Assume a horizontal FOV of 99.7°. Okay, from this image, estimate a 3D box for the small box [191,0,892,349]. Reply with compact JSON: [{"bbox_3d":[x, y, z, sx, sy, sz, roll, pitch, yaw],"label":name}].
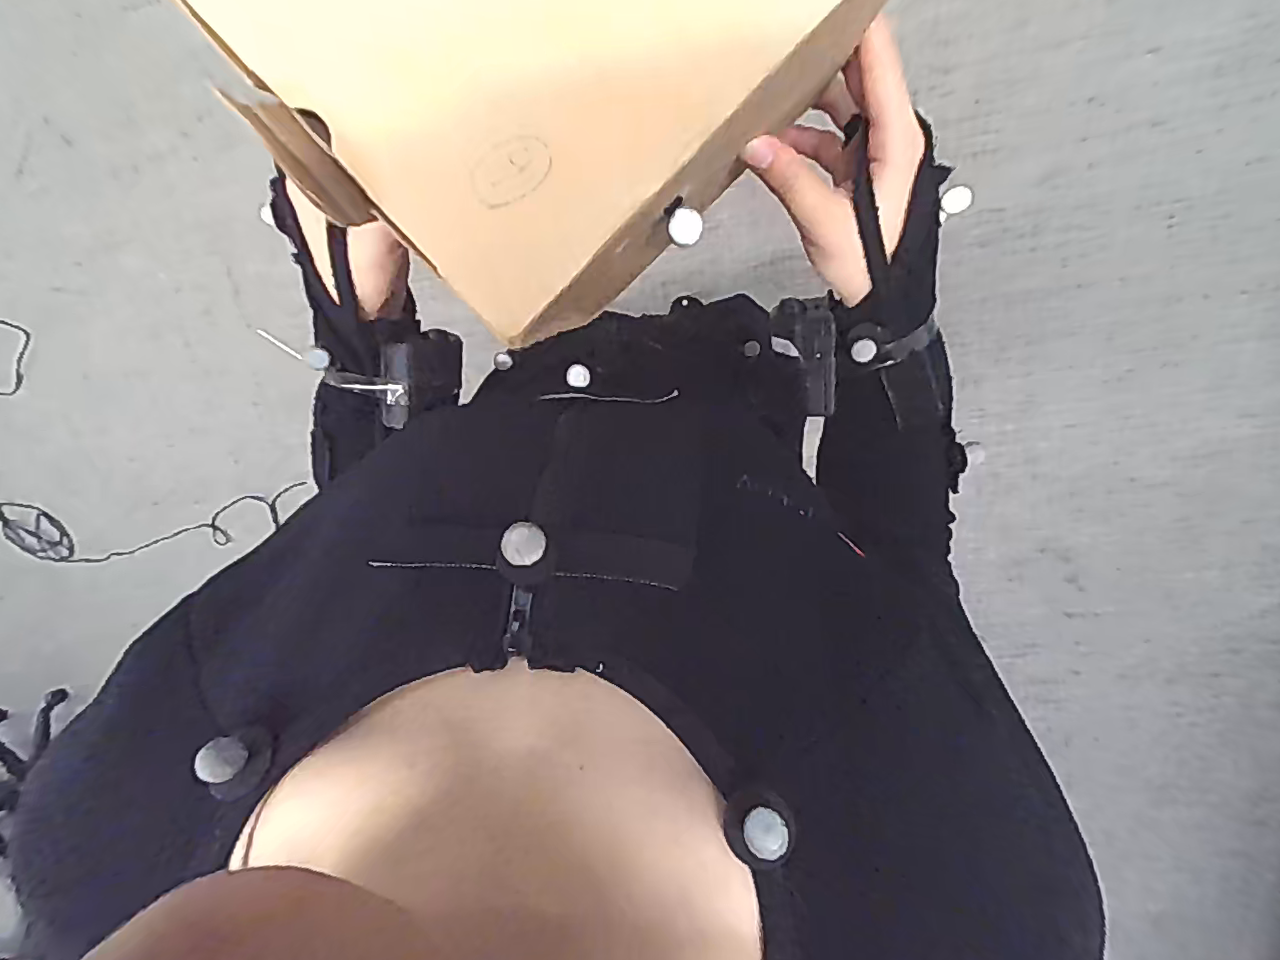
[{"bbox_3d":[-0.024,-0.181,0.229,0.179,0.176,0.168,-40,102,16],"label":"small box"}]
